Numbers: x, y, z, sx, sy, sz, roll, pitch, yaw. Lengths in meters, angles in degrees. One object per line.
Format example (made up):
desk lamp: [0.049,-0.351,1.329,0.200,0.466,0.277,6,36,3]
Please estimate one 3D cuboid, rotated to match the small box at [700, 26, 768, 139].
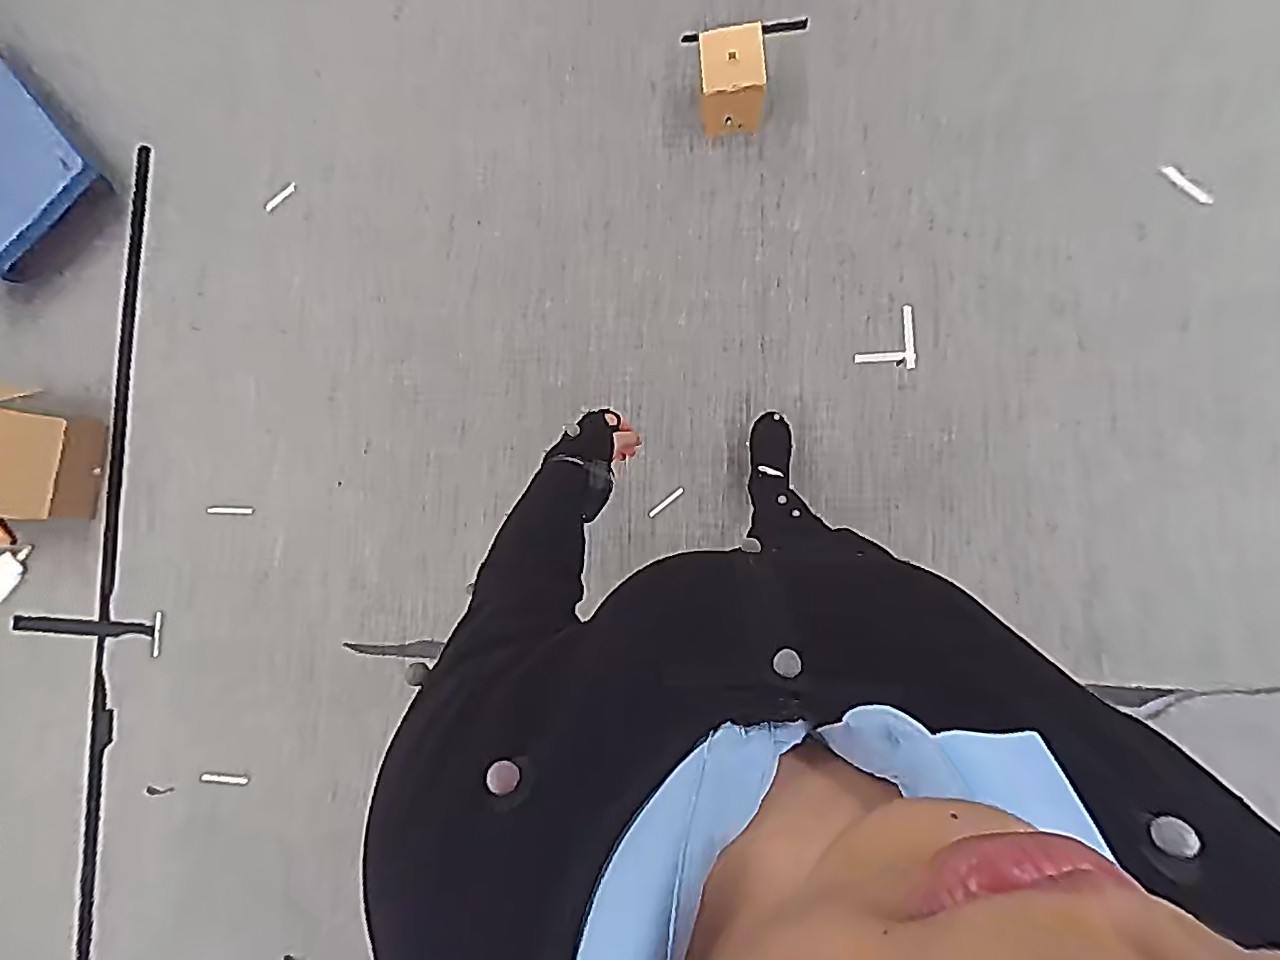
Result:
small box: [0.255,-1.091,1.496,0.168,0.176,0.179,-5,85,7]
